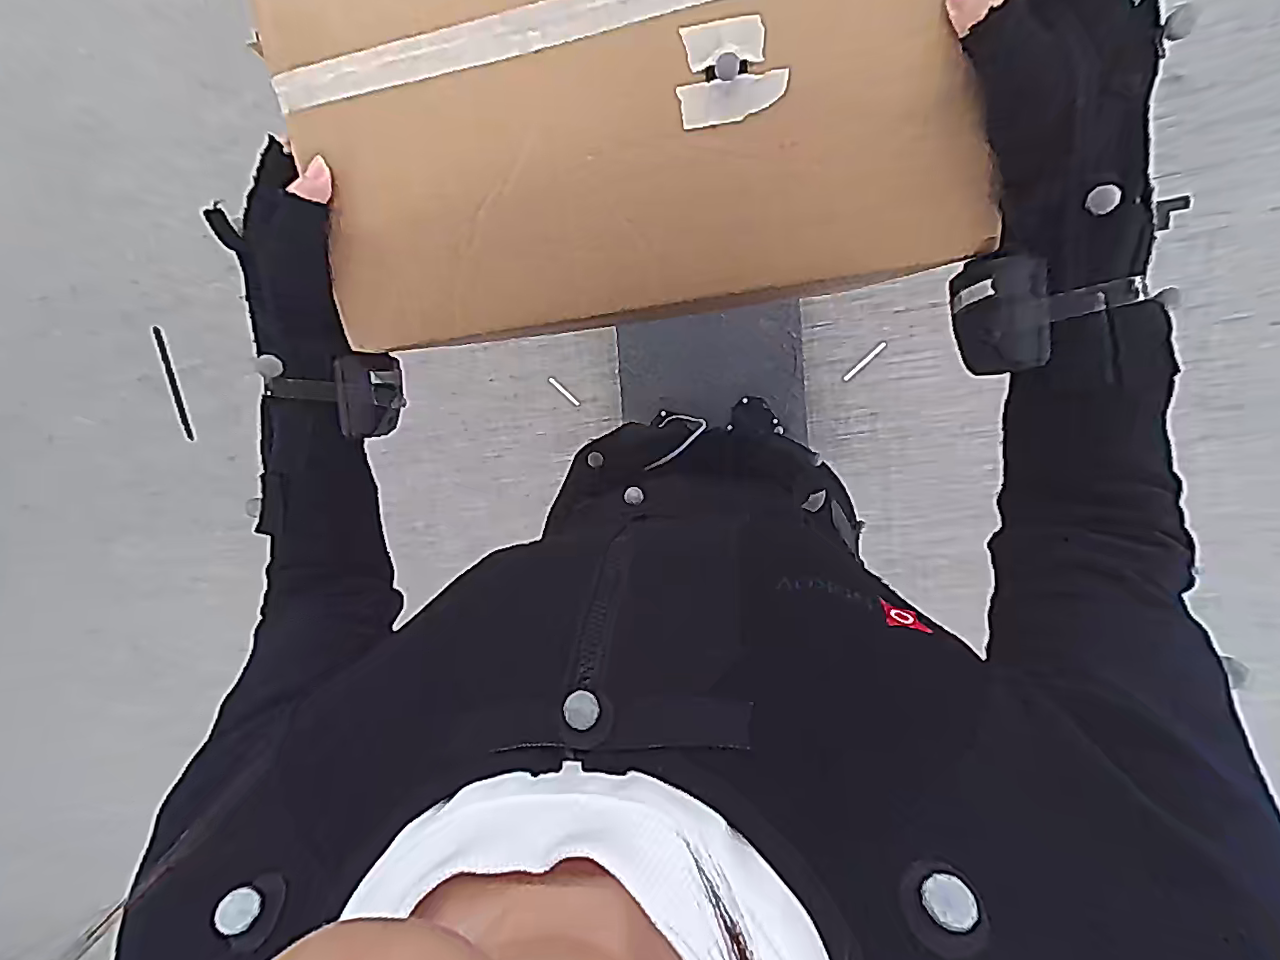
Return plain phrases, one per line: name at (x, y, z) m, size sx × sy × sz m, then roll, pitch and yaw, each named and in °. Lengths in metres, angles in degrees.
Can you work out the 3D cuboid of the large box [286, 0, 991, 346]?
large box at (0.004, -0.304, 0.451) m, size 0.408 × 0.320 × 0.320 m, roll -6°, pitch 106°, yaw 10°
